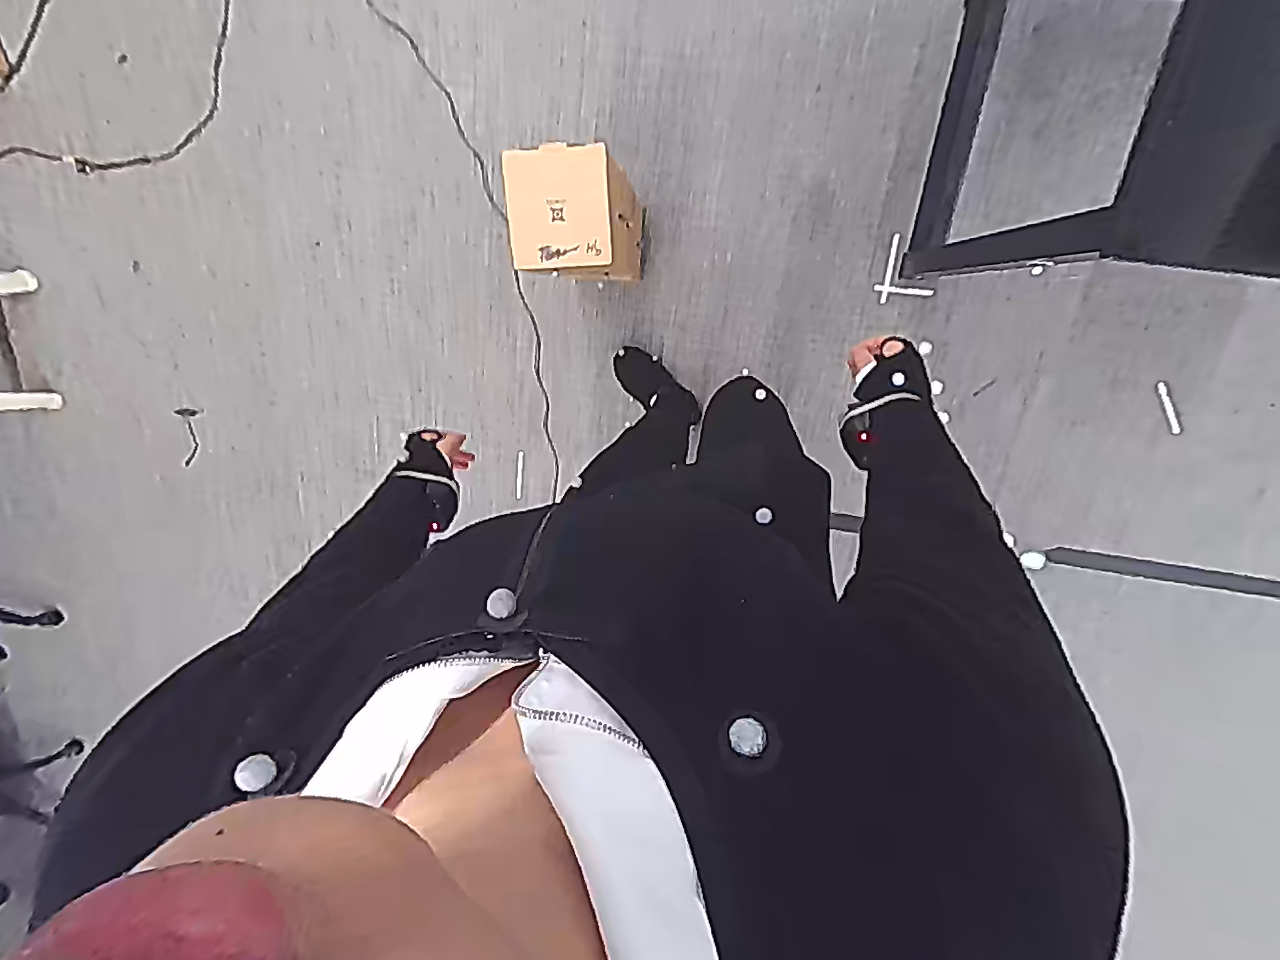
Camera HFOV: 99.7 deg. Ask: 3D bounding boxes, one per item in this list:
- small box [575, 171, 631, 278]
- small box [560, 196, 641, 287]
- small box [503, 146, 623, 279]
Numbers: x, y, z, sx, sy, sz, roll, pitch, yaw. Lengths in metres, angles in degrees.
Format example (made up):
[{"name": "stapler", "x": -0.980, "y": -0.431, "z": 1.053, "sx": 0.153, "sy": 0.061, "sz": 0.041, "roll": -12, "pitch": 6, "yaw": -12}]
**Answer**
[{"name": "small box", "x": -0.107, "y": -0.502, "z": 1.087, "sx": 0.168, "sy": 0.176, "sz": 0.179, "roll": 1, "pitch": 106, "yaw": 5}, {"name": "small box", "x": -0.089, "y": -0.544, "z": 1.242, "sx": 0.168, "sy": 0.176, "sz": 0.179, "roll": 4, "pitch": 109, "yaw": 5}, {"name": "small box", "x": -0.123, "y": -0.449, "z": 0.932, "sx": 0.168, "sy": 0.176, "sz": 0.179, "roll": -1, "pitch": 107, "yaw": 6}]
